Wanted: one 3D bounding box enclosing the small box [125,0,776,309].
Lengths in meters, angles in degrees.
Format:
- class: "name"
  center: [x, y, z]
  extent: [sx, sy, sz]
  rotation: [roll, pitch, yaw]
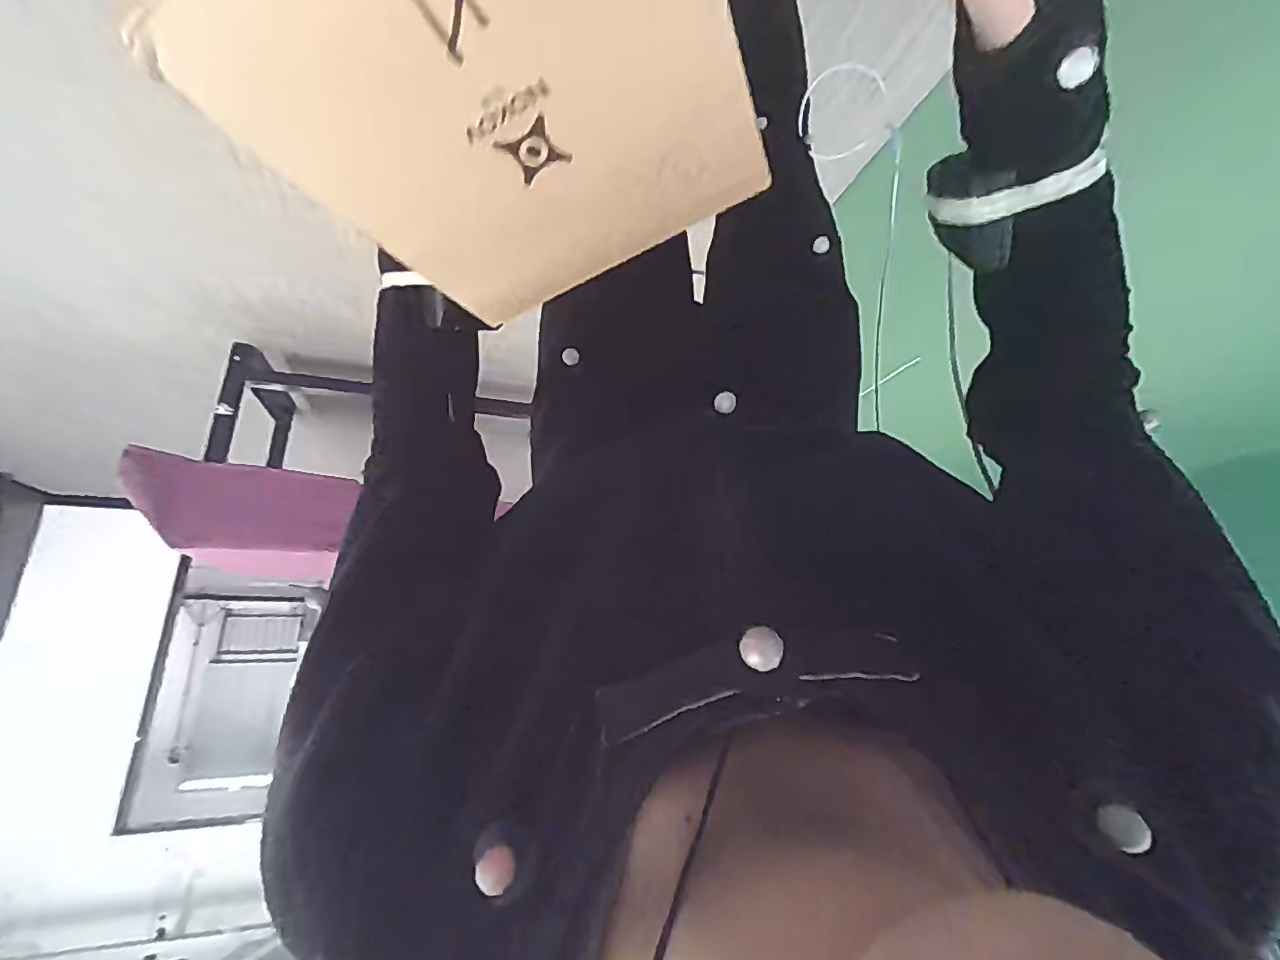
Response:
- class: "small box"
  center: [-0.058, -0.213, 0.224]
  extent: [0.168, 0.176, 0.179]
  rotation: [-21, 159, 16]
